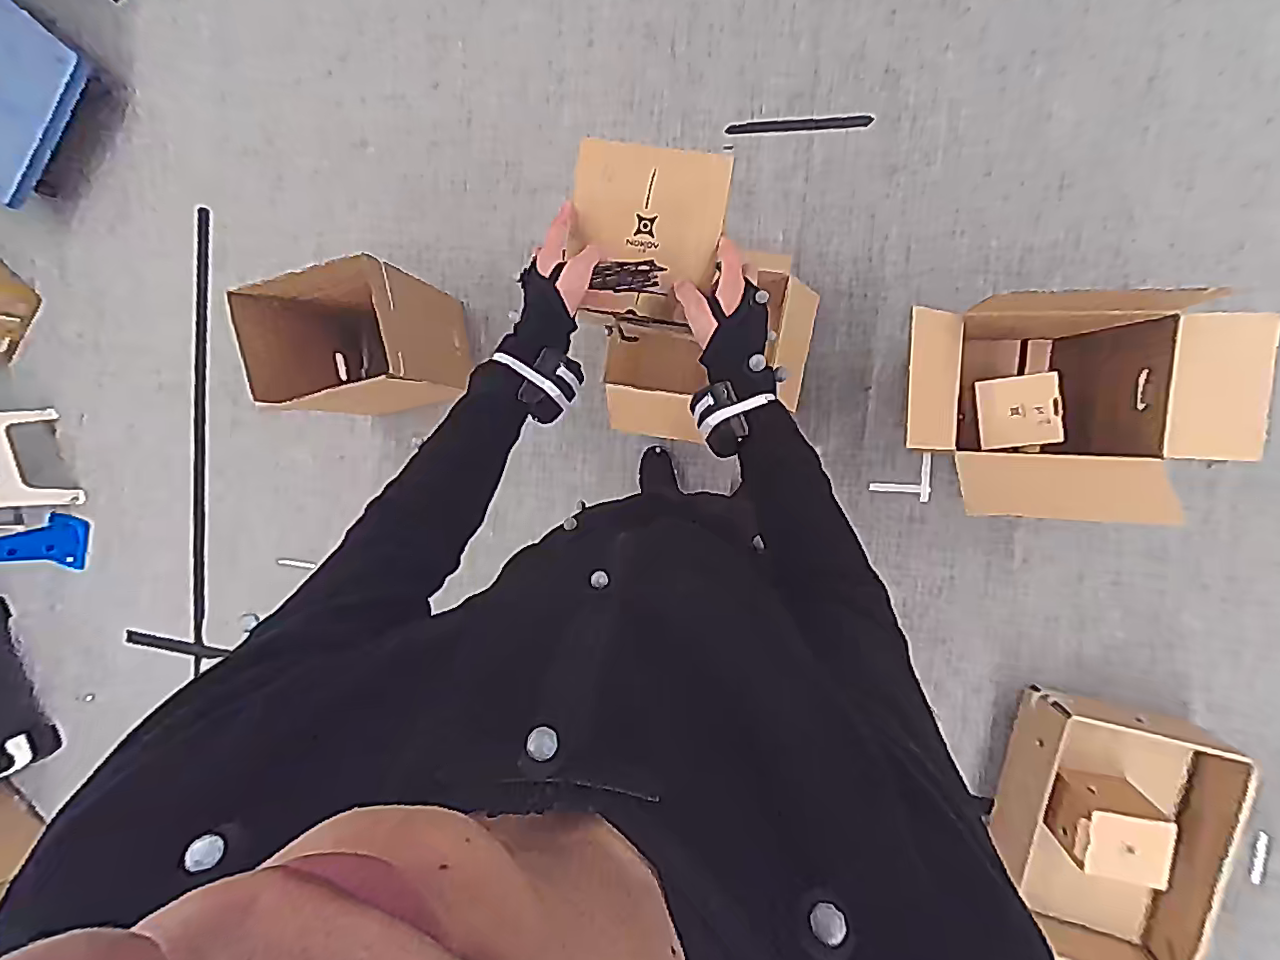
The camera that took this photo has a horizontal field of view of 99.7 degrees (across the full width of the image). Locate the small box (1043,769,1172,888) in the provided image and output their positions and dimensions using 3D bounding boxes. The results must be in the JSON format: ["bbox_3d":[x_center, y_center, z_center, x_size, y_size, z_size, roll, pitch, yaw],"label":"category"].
[{"bbox_3d":[1.143,0.849,1.337,0.179,0.176,0.168,6,96,11],"label":"small box"}]

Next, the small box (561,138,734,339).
[{"bbox_3d":[0.015,-0.274,0.654,0.168,0.176,0.179,10,99,5],"label":"small box"}]
